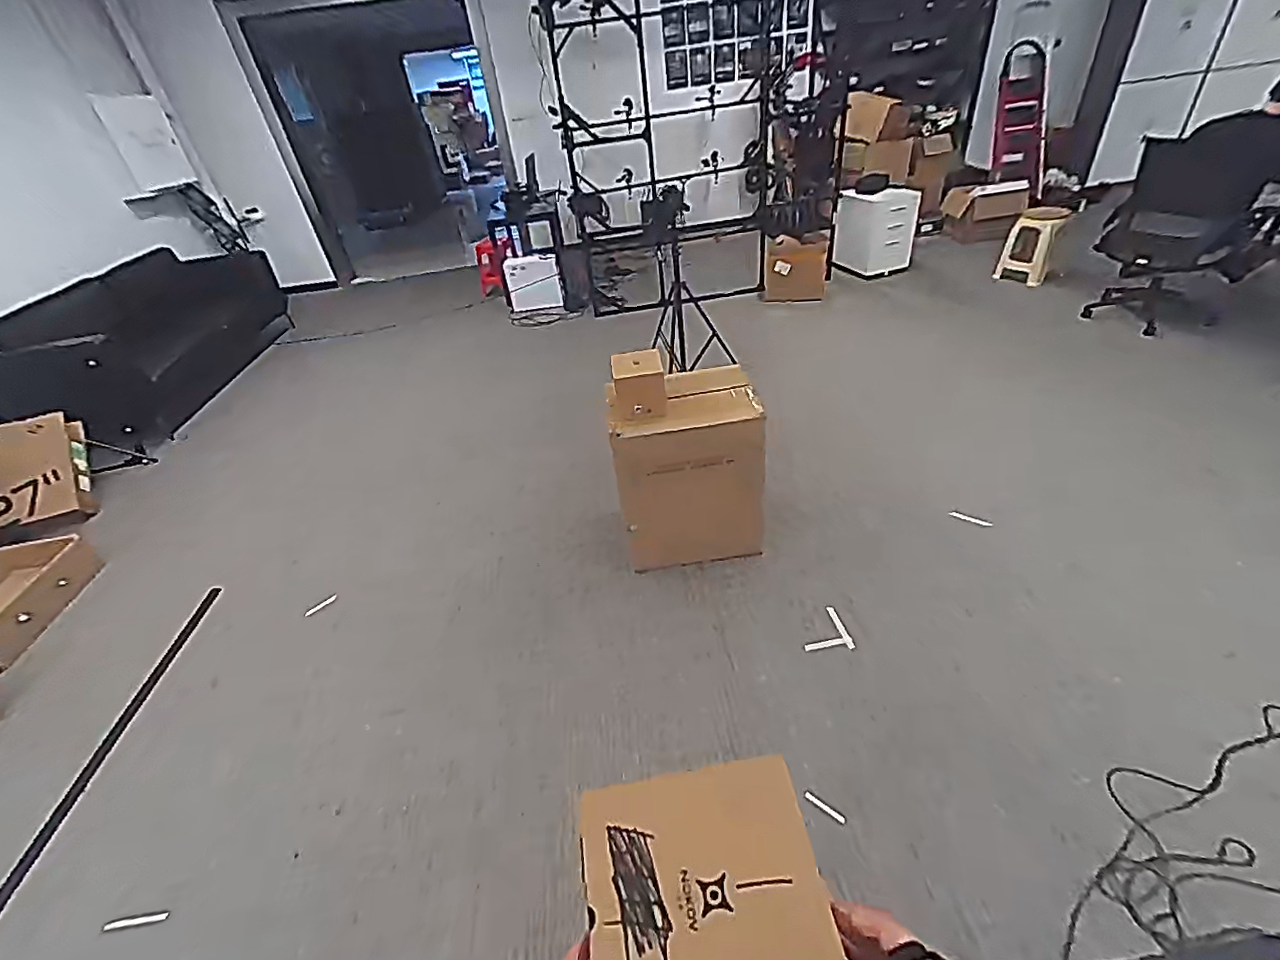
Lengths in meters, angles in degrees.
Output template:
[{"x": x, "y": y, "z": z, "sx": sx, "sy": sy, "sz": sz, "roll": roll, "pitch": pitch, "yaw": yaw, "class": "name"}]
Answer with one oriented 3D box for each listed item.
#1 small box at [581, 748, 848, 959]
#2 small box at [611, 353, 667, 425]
[{"x": 0.057, "y": 0.353, "z": 0.454, "sx": 0.179, "sy": 0.176, "sz": 0.168, "roll": -11, "pitch": 46, "yaw": -1, "class": "small box"}, {"x": -0.003, "y": -0.310, "z": 1.845, "sx": 0.168, "sy": 0.176, "sz": 0.179, "roll": -9, "pitch": 39, "yaw": 0, "class": "small box"}]
